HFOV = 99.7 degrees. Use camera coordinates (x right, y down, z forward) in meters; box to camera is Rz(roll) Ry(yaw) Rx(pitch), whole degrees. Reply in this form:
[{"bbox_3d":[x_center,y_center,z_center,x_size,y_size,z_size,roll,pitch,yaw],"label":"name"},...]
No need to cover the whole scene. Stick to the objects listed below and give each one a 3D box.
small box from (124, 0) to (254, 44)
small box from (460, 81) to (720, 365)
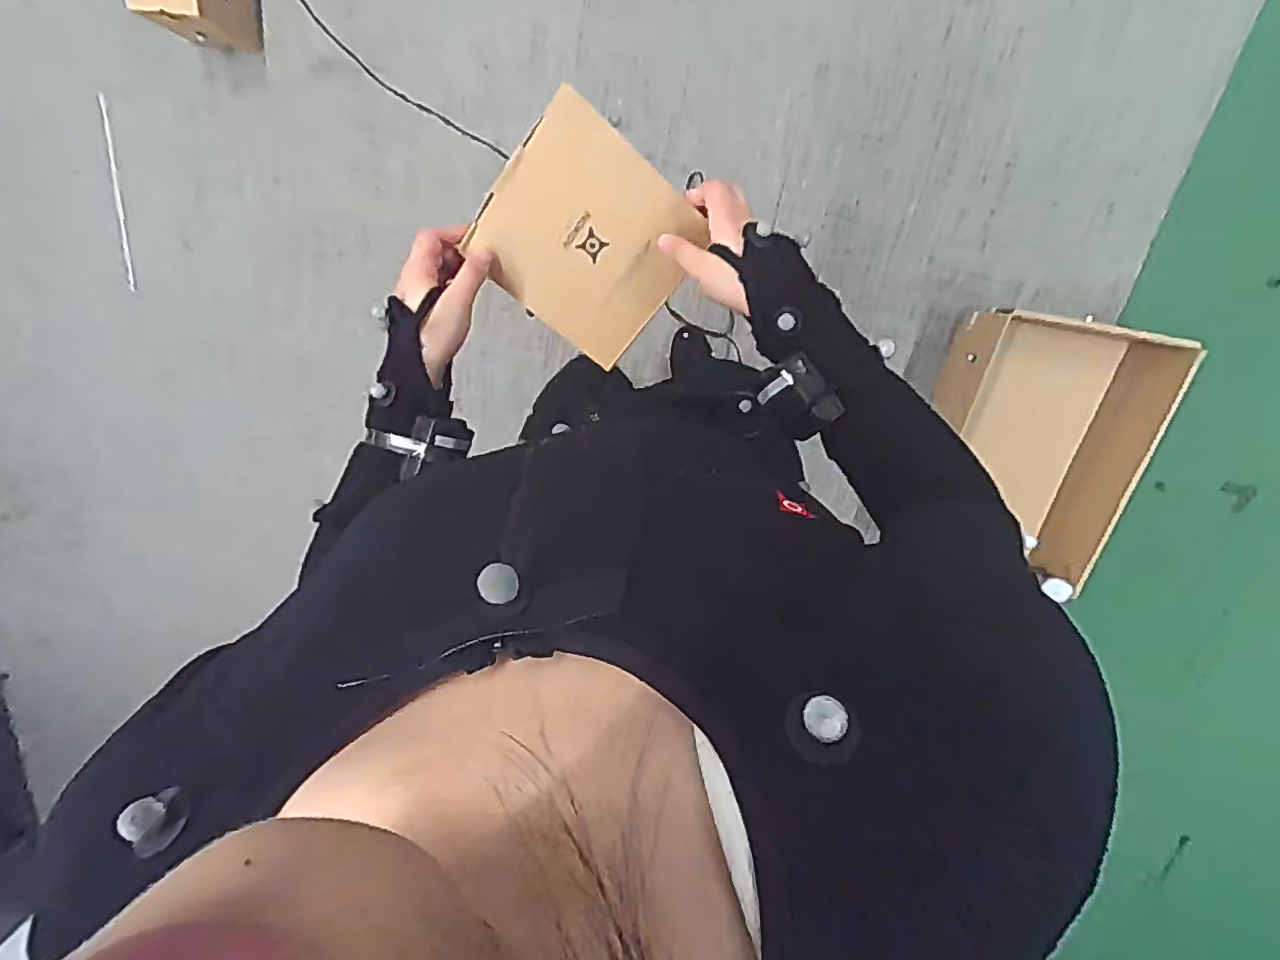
[{"bbox_3d":[-0.972,-1.077,1.163,0.168,0.176,0.179,9,111,3],"label":"small box"},{"bbox_3d":[-0.049,-0.252,0.549,0.179,0.176,0.168,34,113,-21],"label":"small box"}]
